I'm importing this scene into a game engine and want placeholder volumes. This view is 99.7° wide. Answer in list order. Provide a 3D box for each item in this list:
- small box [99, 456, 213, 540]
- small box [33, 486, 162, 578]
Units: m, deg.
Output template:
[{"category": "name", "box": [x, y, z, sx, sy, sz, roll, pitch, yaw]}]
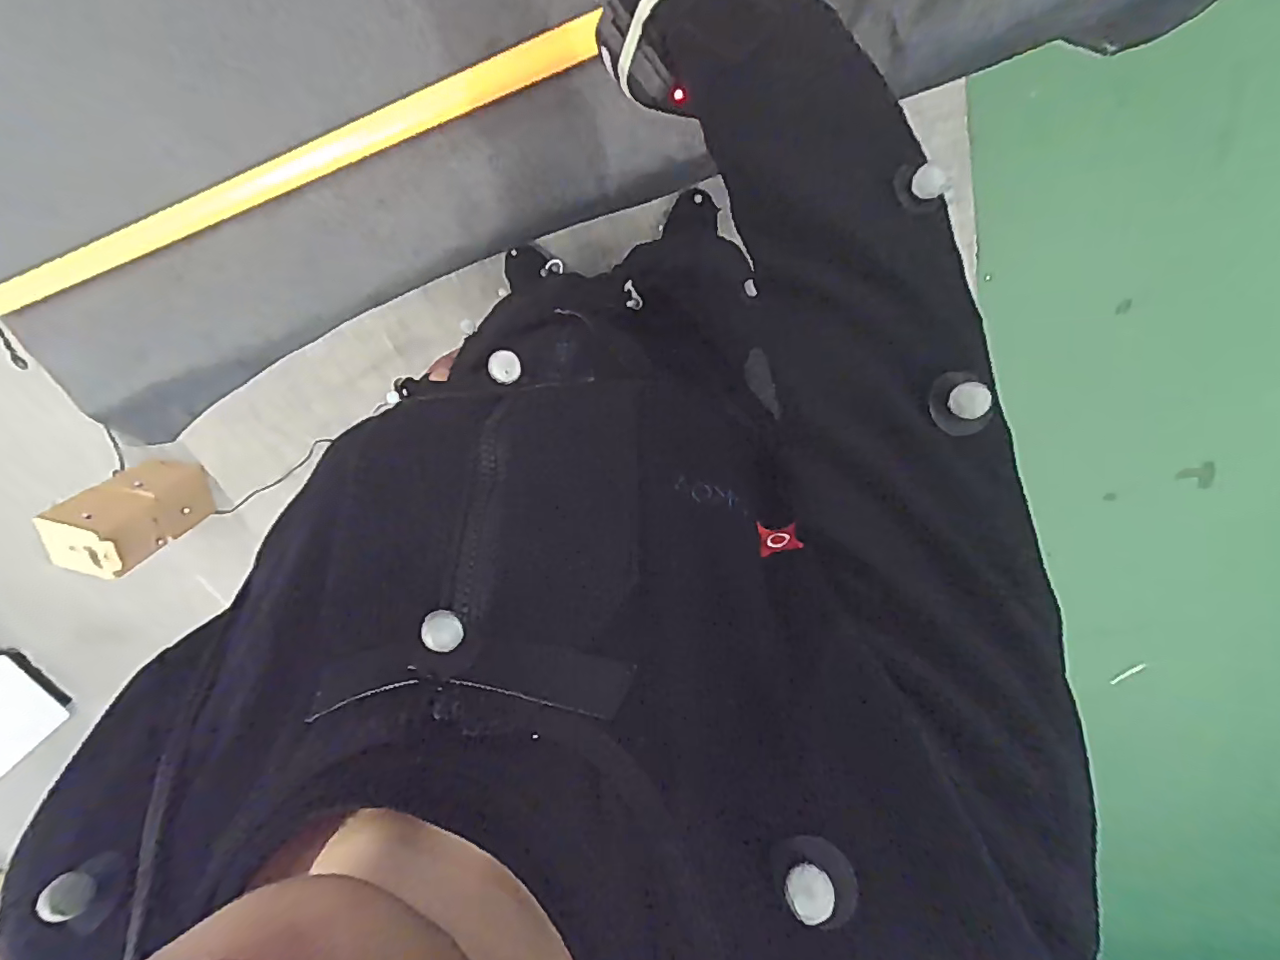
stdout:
[{"category": "small box", "box": [-1.437, 0.051, 1.621, 0.168, 0.176, 0.179, 10, 121, 2]}, {"category": "small box", "box": [-1.467, 0.136, 1.482, 0.179, 0.176, 0.168, 14, 121, 0]}]
